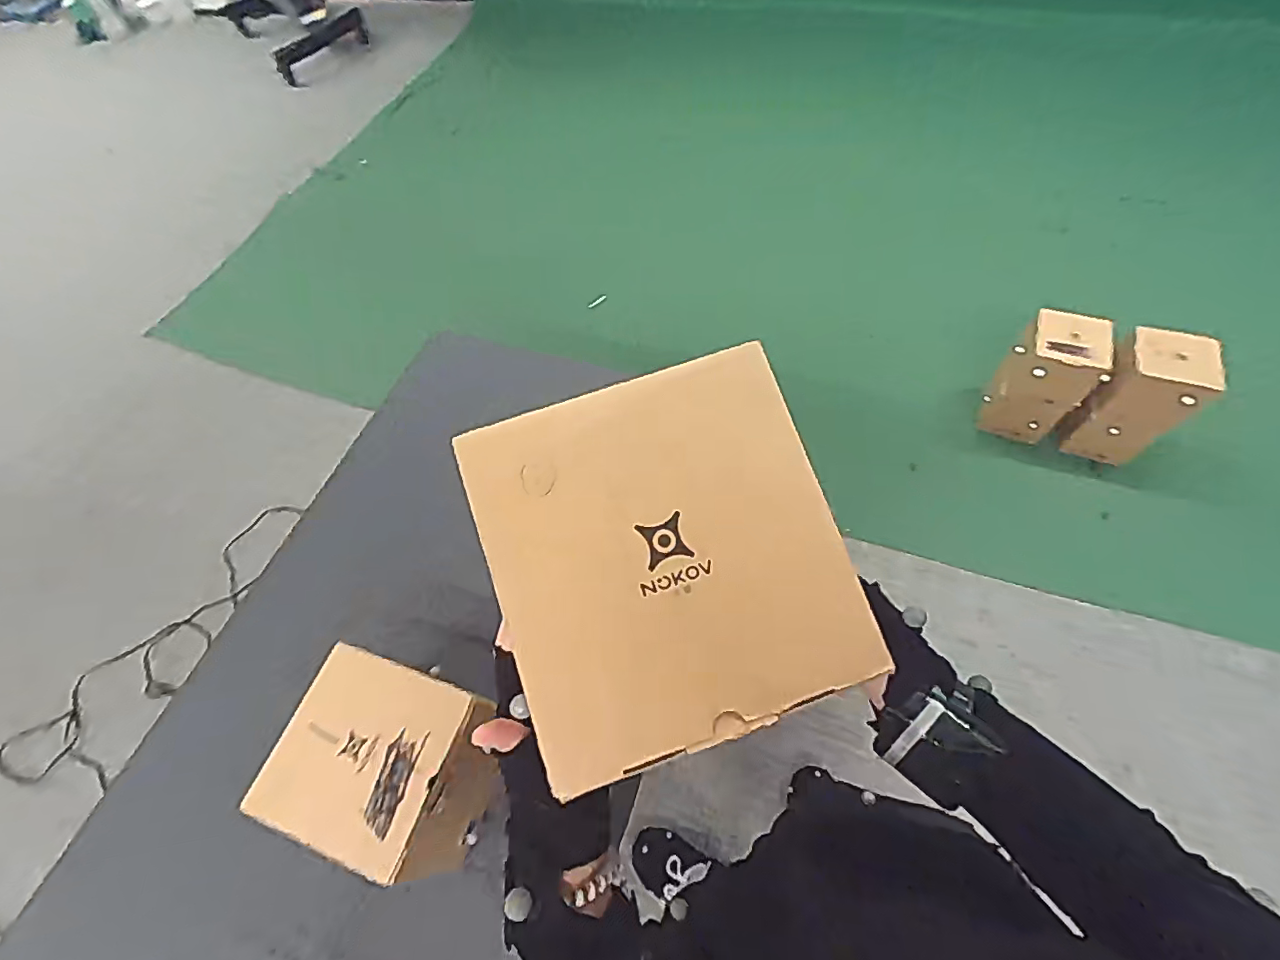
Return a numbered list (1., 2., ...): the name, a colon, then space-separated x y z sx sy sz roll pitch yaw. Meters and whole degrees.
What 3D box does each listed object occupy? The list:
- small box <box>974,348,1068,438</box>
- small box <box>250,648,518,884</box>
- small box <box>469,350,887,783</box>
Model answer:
1. small box: 1.110 -0.251 1.587 0.168 0.176 0.179 19 65 16
2. small box: -0.262 0.308 0.602 0.179 0.176 0.168 14 63 15
3. small box: 0.013 0.050 0.344 0.168 0.176 0.179 -19 80 -5
